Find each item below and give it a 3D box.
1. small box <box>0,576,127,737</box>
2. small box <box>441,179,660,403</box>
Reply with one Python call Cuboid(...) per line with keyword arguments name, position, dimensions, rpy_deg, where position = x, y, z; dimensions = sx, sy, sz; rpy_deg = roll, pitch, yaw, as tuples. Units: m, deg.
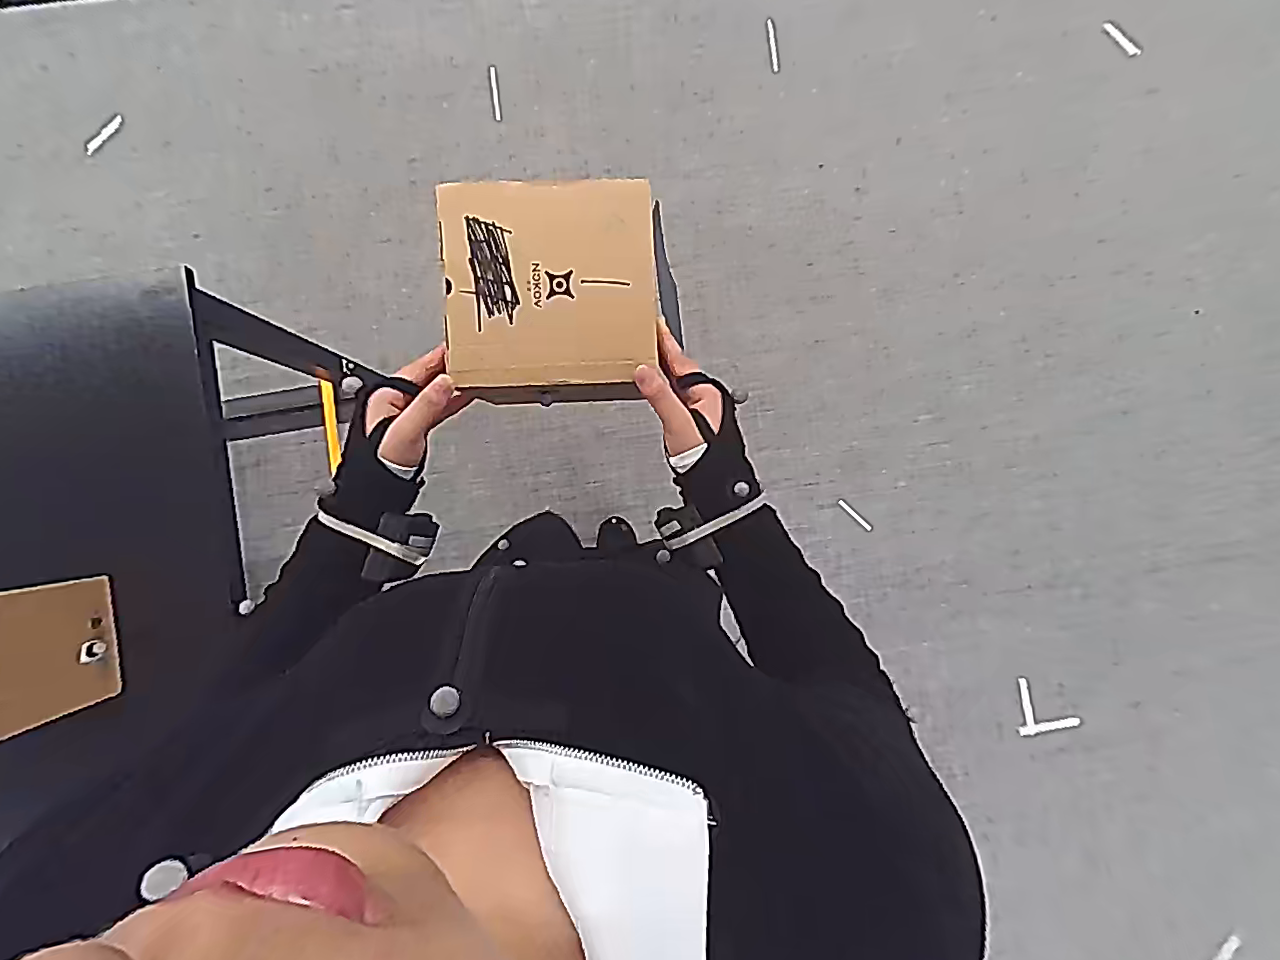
Cuboid(name="small box", position=(-0.810, 0.224, 0.674), dimensions=(0.179, 0.176, 0.168), rpy_deg=(-9, 90, -2))
Cuboid(name="small box", position=(-0.075, -0.166, 0.523), dimensions=(0.179, 0.176, 0.168), rpy_deg=(-3, 94, -3))
